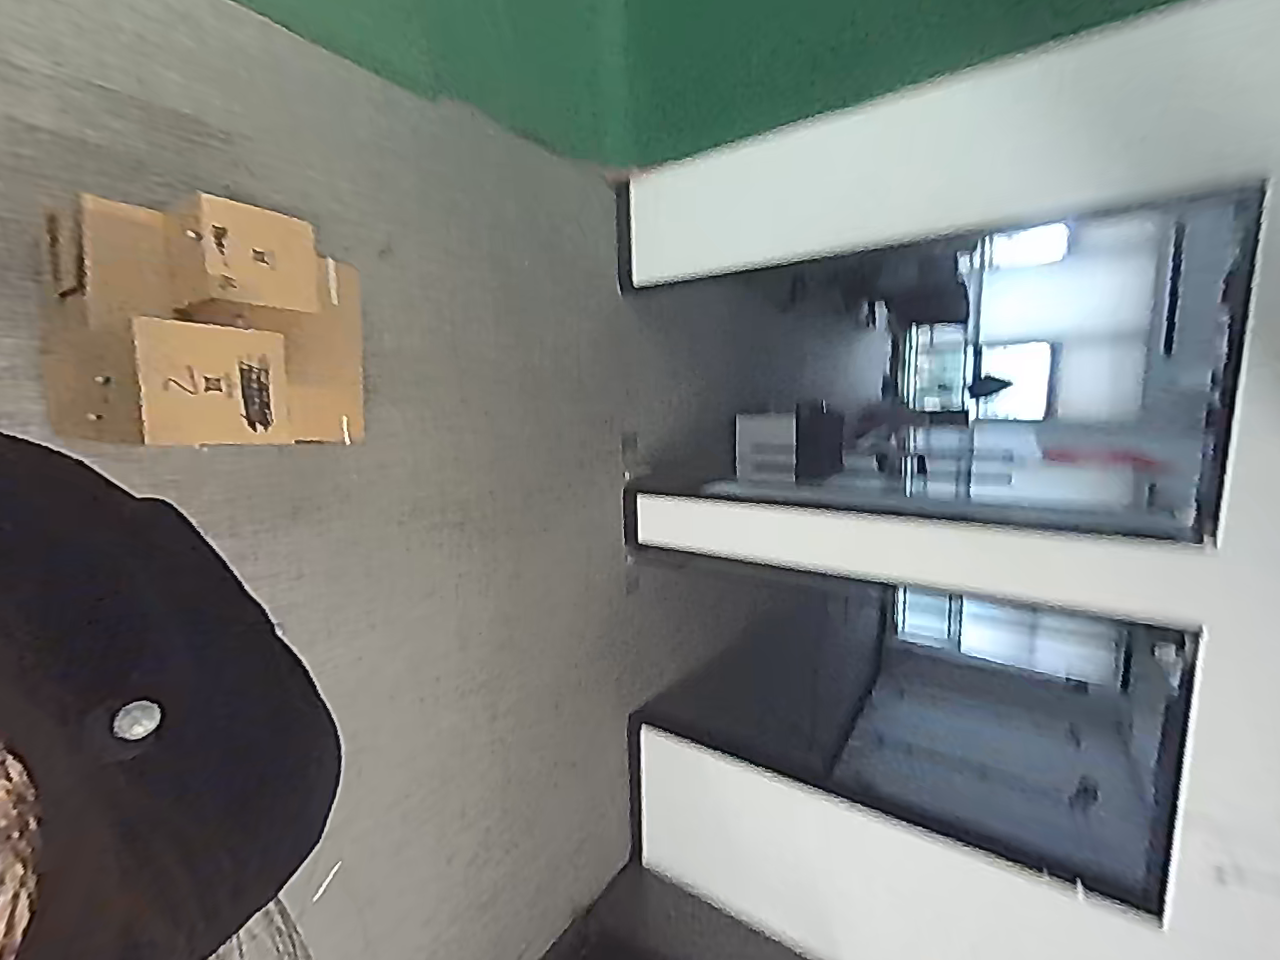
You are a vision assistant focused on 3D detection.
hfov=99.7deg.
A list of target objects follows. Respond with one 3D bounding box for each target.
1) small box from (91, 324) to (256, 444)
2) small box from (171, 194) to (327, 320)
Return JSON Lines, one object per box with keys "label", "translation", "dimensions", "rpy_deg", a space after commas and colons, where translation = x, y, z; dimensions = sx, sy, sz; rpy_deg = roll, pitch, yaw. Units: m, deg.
{"label": "small box", "translation": [-0.775, -0.154, 0.902], "dimensions": [0.168, 0.176, 0.179], "rpy_deg": [-11, 103, -56]}
{"label": "small box", "translation": [-0.705, -0.390, 0.982], "dimensions": [0.179, 0.176, 0.168], "rpy_deg": [-10, 102, -57]}
